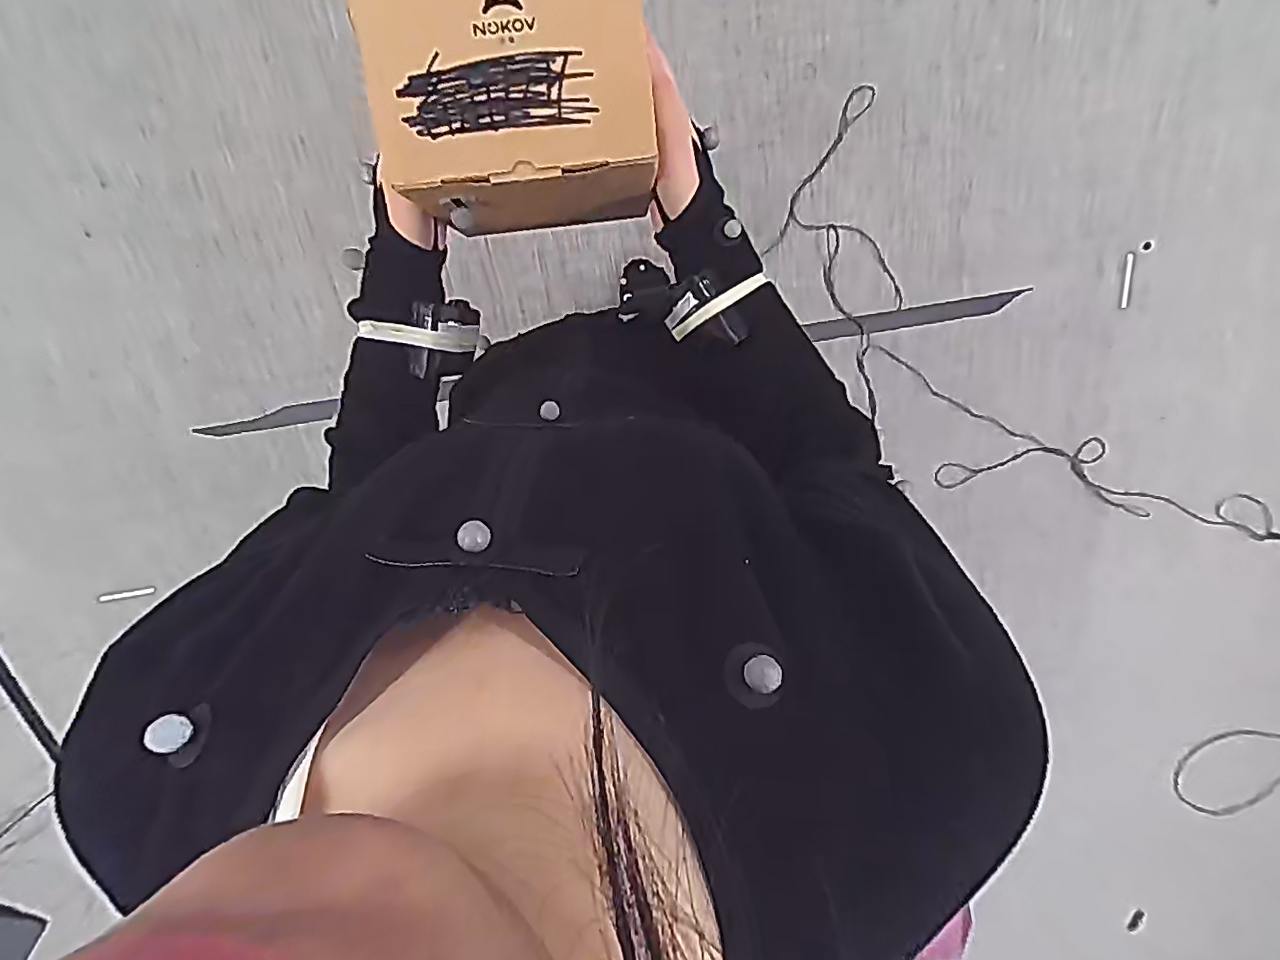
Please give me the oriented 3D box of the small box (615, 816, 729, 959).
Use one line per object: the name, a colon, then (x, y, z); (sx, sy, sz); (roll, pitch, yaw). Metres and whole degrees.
small box: (0.051, 0.708, 0.906); (0.168, 0.176, 0.179); (-8, 109, -3)
